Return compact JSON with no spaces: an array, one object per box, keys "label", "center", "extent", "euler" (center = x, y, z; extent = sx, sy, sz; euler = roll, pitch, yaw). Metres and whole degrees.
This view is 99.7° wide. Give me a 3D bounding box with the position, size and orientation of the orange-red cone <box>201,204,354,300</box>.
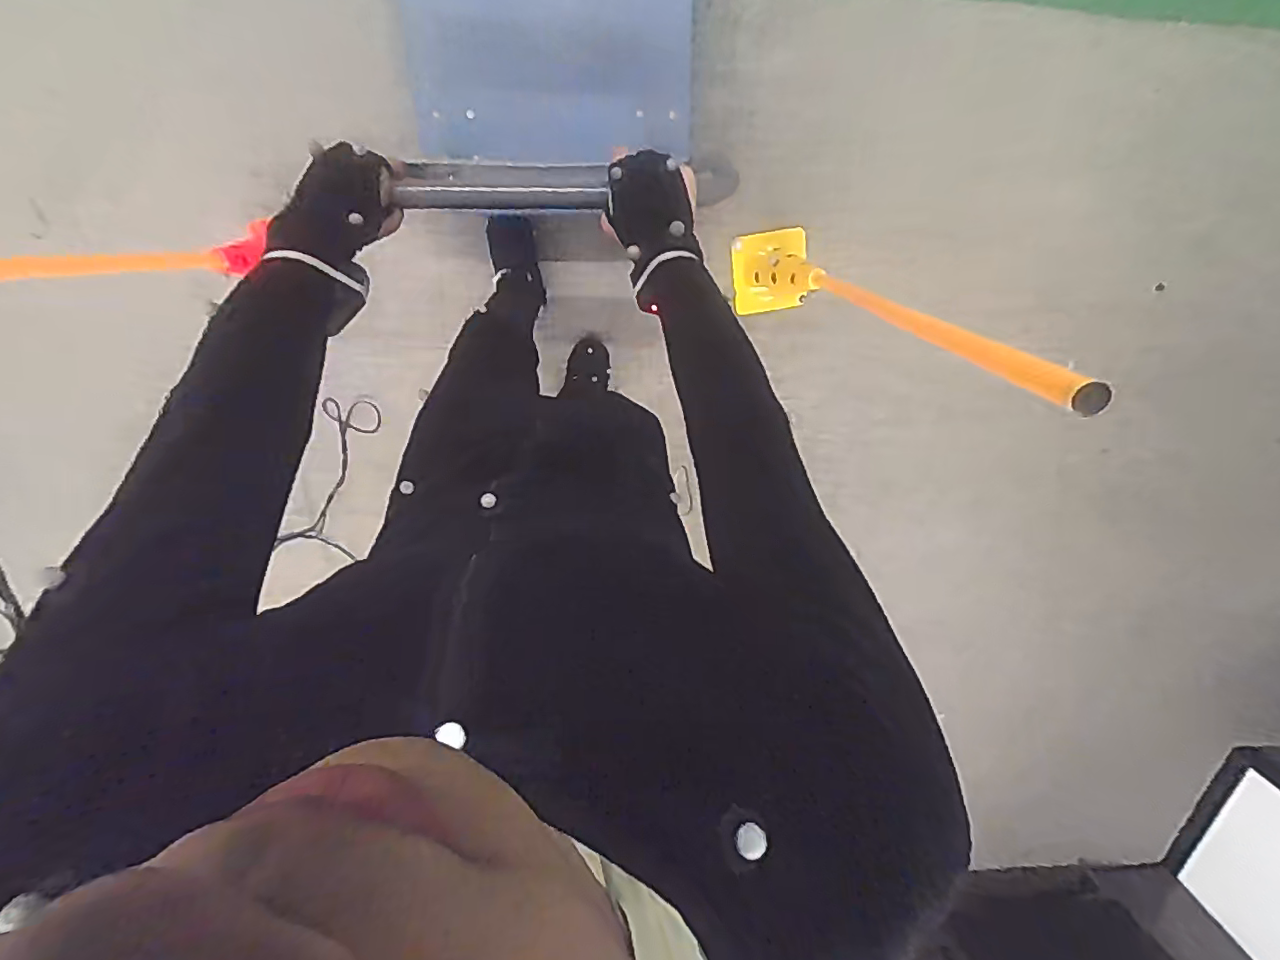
[{"label":"orange-red cone","center":[-0.819,-0.491,1.178],"extent":[0.199,0.360,0.198],"euler":[-13,114,2]}]
